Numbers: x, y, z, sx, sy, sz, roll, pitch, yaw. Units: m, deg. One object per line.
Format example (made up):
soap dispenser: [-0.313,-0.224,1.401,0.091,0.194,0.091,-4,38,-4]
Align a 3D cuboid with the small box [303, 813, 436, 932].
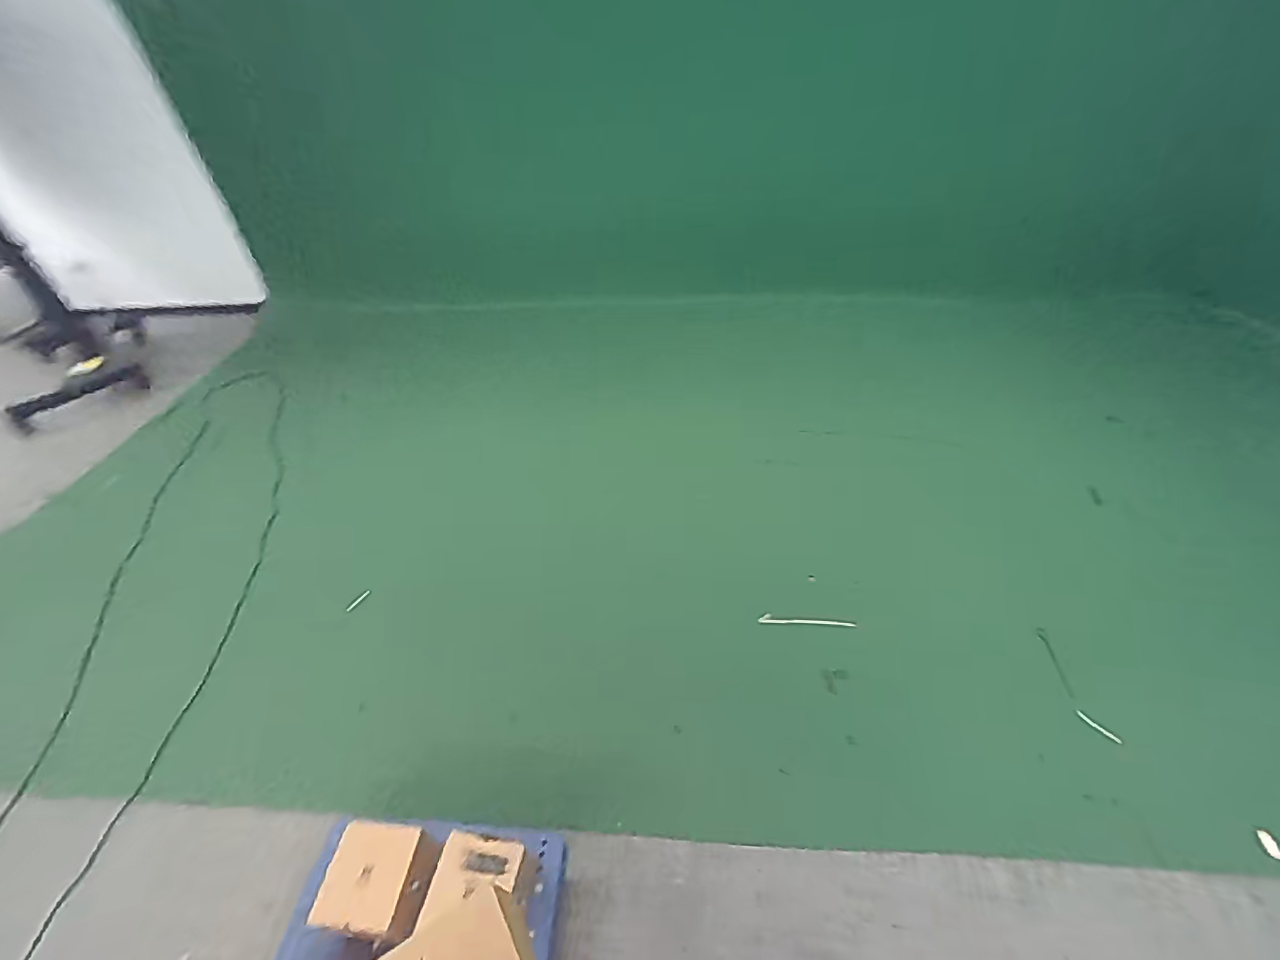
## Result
small box: [-0.555,0.835,1.142,0.168,0.176,0.179,3,44,6]

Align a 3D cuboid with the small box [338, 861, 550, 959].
small box: [-0.177,0.532,0.549,0.168,0.176,0.179,-22,54,-22]
